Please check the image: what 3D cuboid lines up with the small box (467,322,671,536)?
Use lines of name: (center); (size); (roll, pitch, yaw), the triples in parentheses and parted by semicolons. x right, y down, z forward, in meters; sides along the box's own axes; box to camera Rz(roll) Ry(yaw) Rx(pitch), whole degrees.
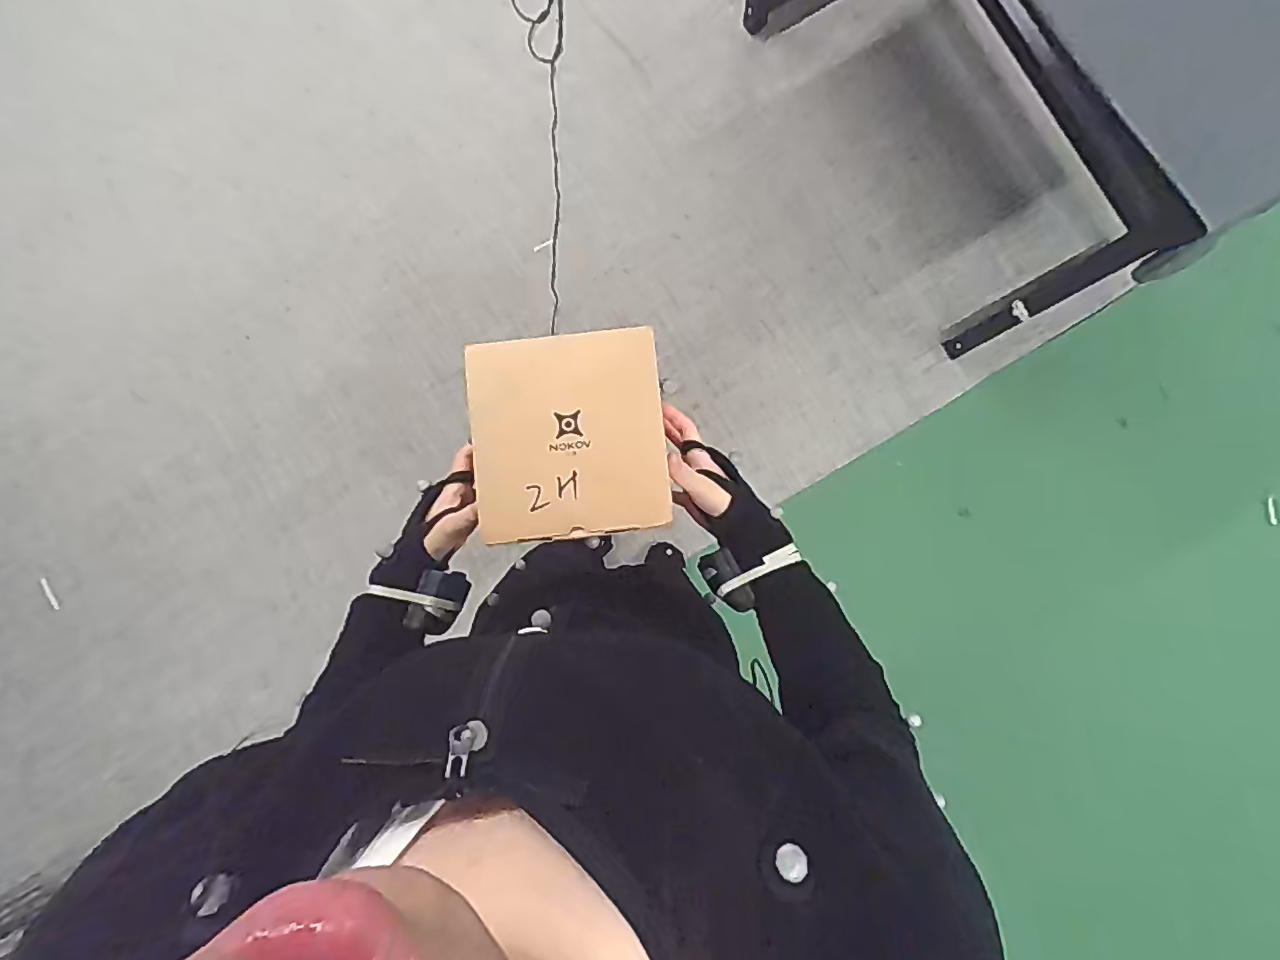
small box: (-0.063, -0.039, 0.543); (0.168, 0.176, 0.179); (-6, 86, 0)
